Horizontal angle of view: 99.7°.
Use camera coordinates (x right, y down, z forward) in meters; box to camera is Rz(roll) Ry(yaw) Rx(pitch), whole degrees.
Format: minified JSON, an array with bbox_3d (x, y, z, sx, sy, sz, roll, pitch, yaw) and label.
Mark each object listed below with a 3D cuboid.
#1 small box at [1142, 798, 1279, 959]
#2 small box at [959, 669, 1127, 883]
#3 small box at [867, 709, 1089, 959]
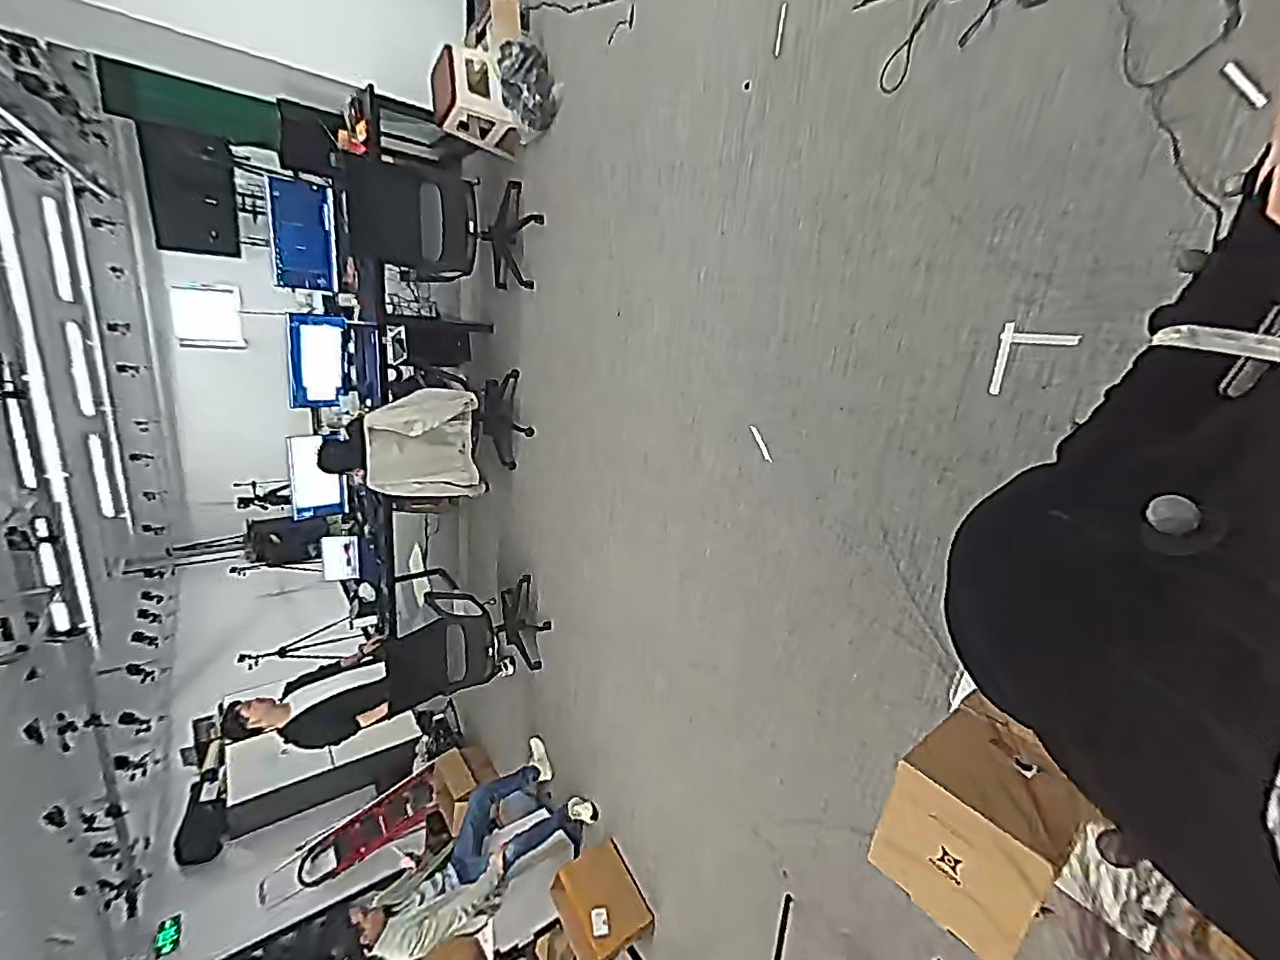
[{"bbox_3d":[0.698,0.500,0.587,0.168,0.176,0.179,24,115,49],"label":"small box"},{"bbox_3d":[0.549,0.401,0.767,0.168,0.176,0.179,28,117,47],"label":"small box"},{"bbox_3d":[0.418,0.429,0.674,0.168,0.176,0.179,26,116,46],"label":"small box"}]
